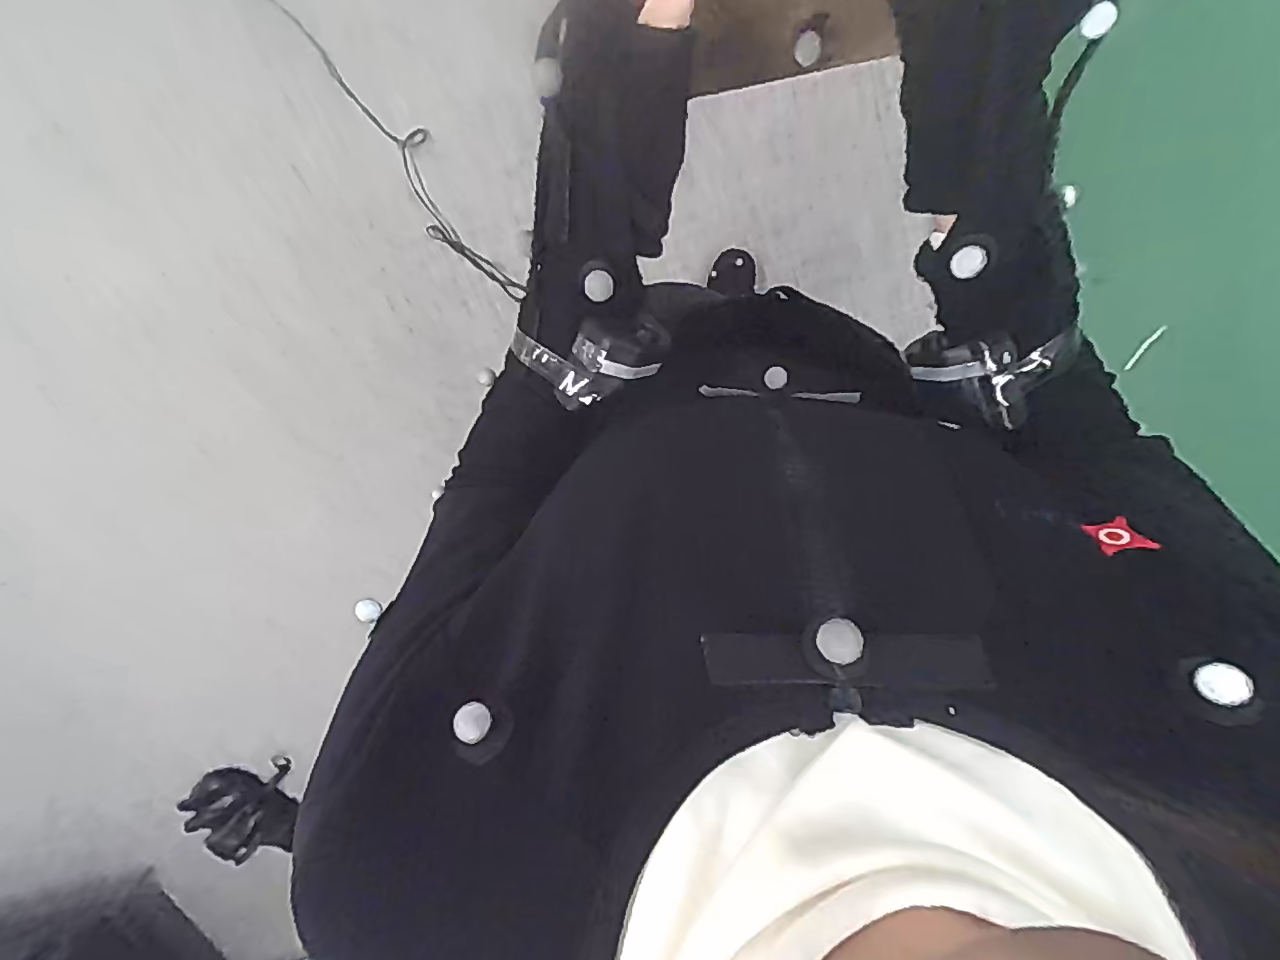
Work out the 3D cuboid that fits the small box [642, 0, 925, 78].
[{"bbox_3d":[0.073,-0.328,0.259,0.168,0.176,0.179,-9,109,6],"label":"small box"}]
